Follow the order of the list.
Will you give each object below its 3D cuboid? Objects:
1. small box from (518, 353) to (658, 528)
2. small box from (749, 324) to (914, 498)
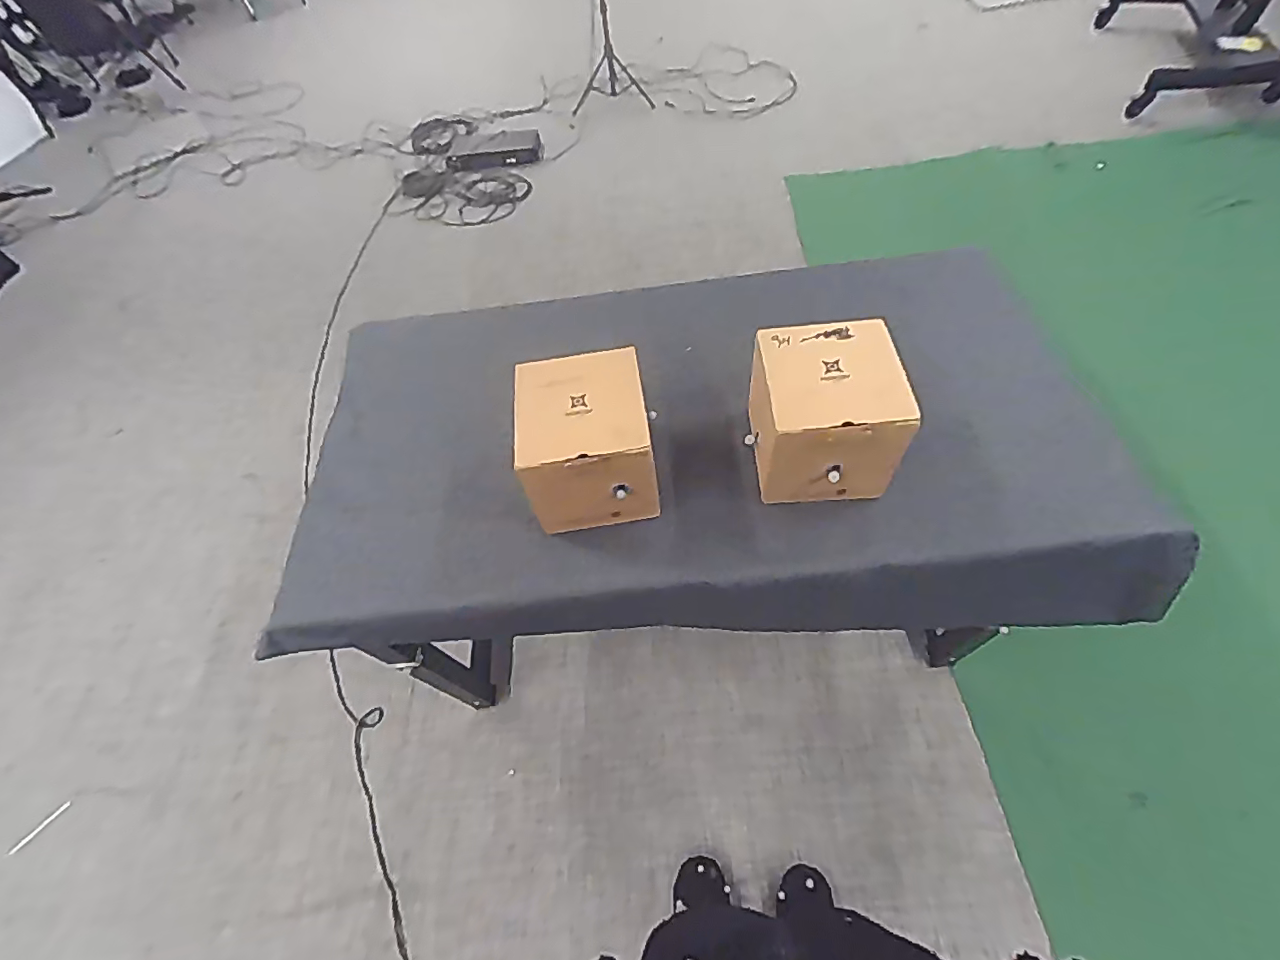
[{"bbox_3d":[-0.069,-0.046,0.756,0.168,0.176,0.179,-9,55,-1],"label":"small box"},{"bbox_3d":[0.246,-0.085,0.743,0.168,0.176,0.179,-4,57,4],"label":"small box"}]
